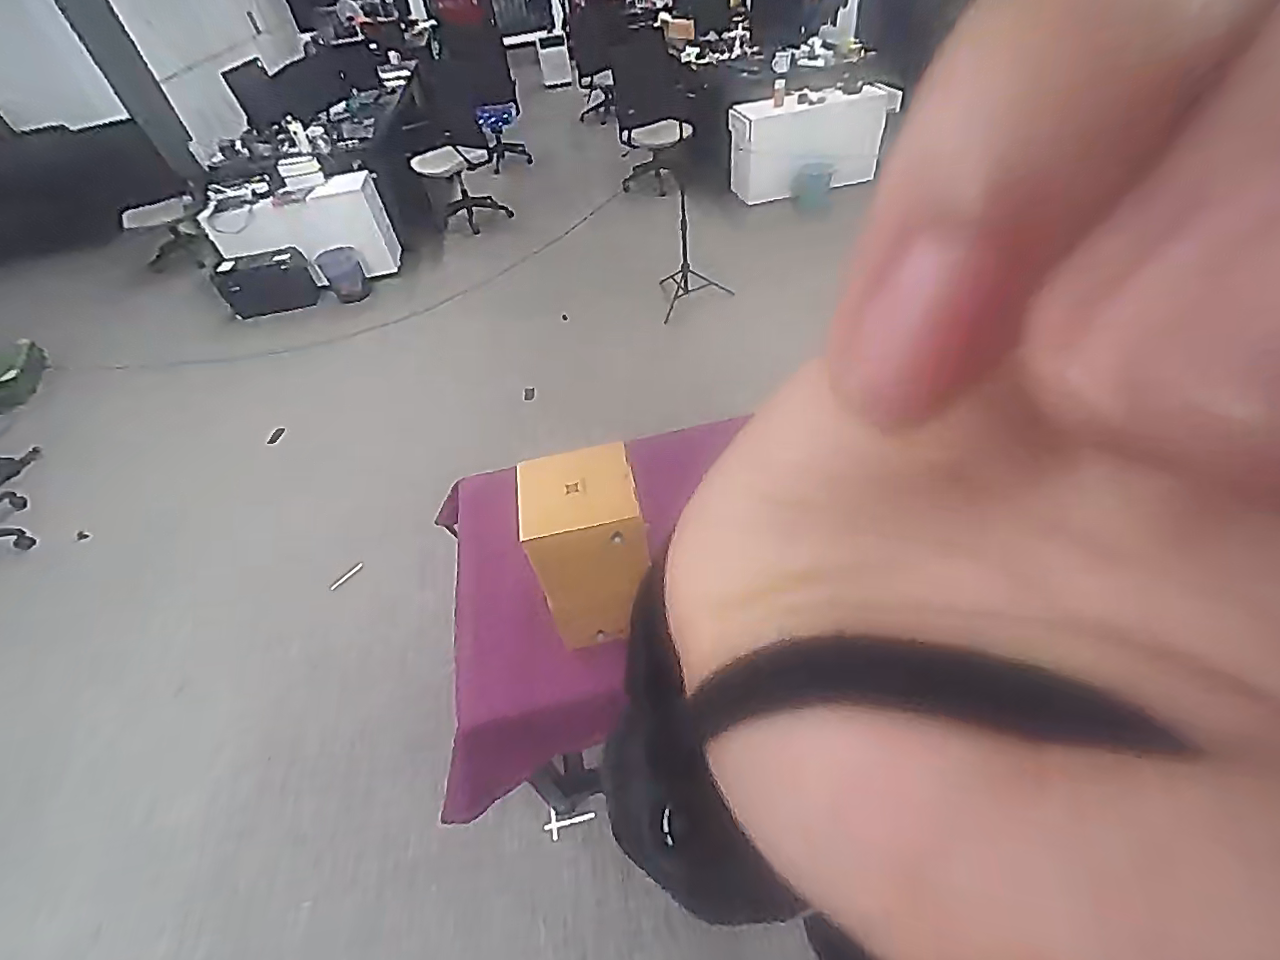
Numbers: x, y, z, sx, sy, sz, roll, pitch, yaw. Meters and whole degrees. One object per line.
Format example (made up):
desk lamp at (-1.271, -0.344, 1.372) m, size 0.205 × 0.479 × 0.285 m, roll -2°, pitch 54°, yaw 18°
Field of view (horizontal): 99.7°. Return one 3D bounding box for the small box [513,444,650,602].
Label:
small box at (-0.091, 0.072, 0.856) m, size 0.179 × 0.176 × 0.168 m, roll -13°, pitch 46°, yaw -2°

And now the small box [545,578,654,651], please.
small box at (-0.077, 0.179, 0.977) m, size 0.168 × 0.176 × 0.179 m, roll -13°, pitch 47°, yaw -3°
